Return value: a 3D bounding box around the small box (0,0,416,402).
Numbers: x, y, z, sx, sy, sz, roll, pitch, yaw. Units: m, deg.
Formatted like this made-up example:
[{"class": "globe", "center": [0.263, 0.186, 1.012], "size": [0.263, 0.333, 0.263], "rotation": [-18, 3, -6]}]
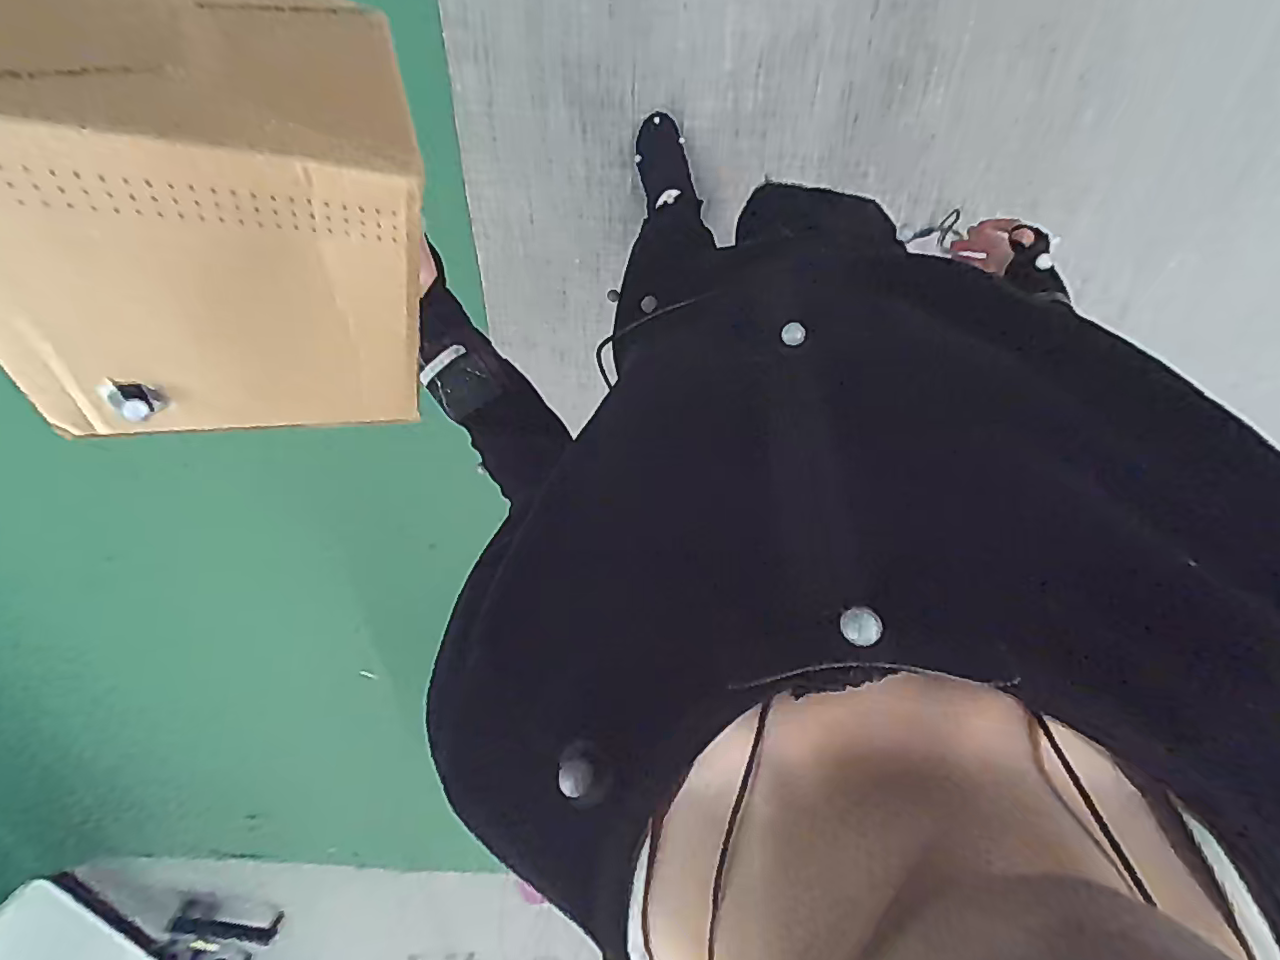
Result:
[{"class": "small box", "center": [-0.219, -0.158, 0.276], "size": [0.179, 0.168, 0.176], "rotation": [-5, 149, -29]}]
